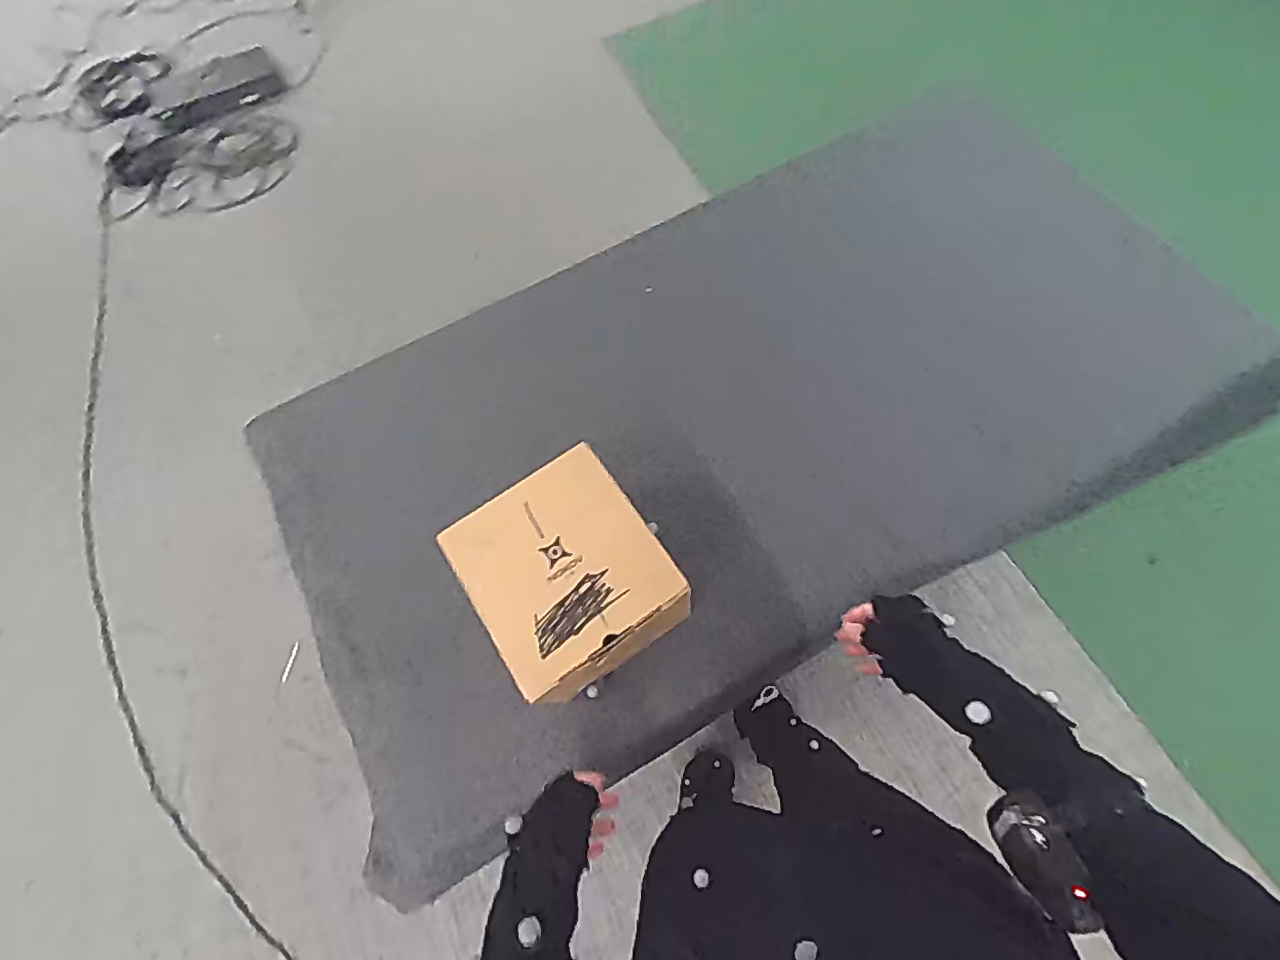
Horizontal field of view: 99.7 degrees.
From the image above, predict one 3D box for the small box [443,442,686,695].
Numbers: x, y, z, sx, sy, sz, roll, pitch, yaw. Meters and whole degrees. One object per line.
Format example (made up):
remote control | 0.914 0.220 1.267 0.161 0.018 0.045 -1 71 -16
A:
small box | -0.064 0.098 0.560 0.168 0.176 0.179 -33 69 -9
